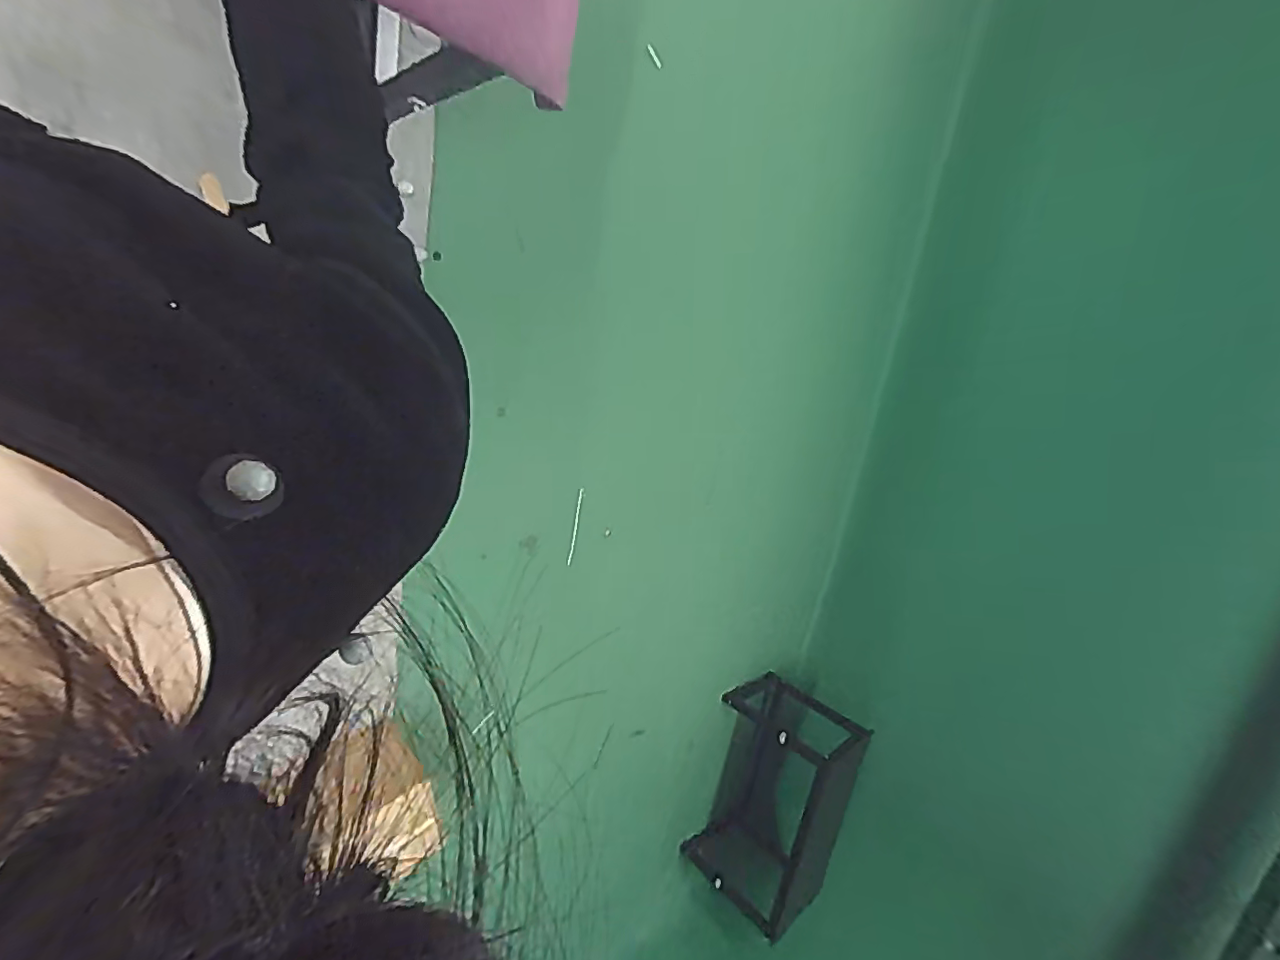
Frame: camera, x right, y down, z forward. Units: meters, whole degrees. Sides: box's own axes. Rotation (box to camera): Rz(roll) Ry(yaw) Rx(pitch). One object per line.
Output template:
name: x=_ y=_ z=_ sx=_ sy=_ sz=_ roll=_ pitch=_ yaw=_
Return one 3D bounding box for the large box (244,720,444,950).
large box: x=-0.857 y=1.010 z=1.592 sx=0.408 sy=0.320 sz=0.320 roll=-22 pitch=122 yaw=-40
